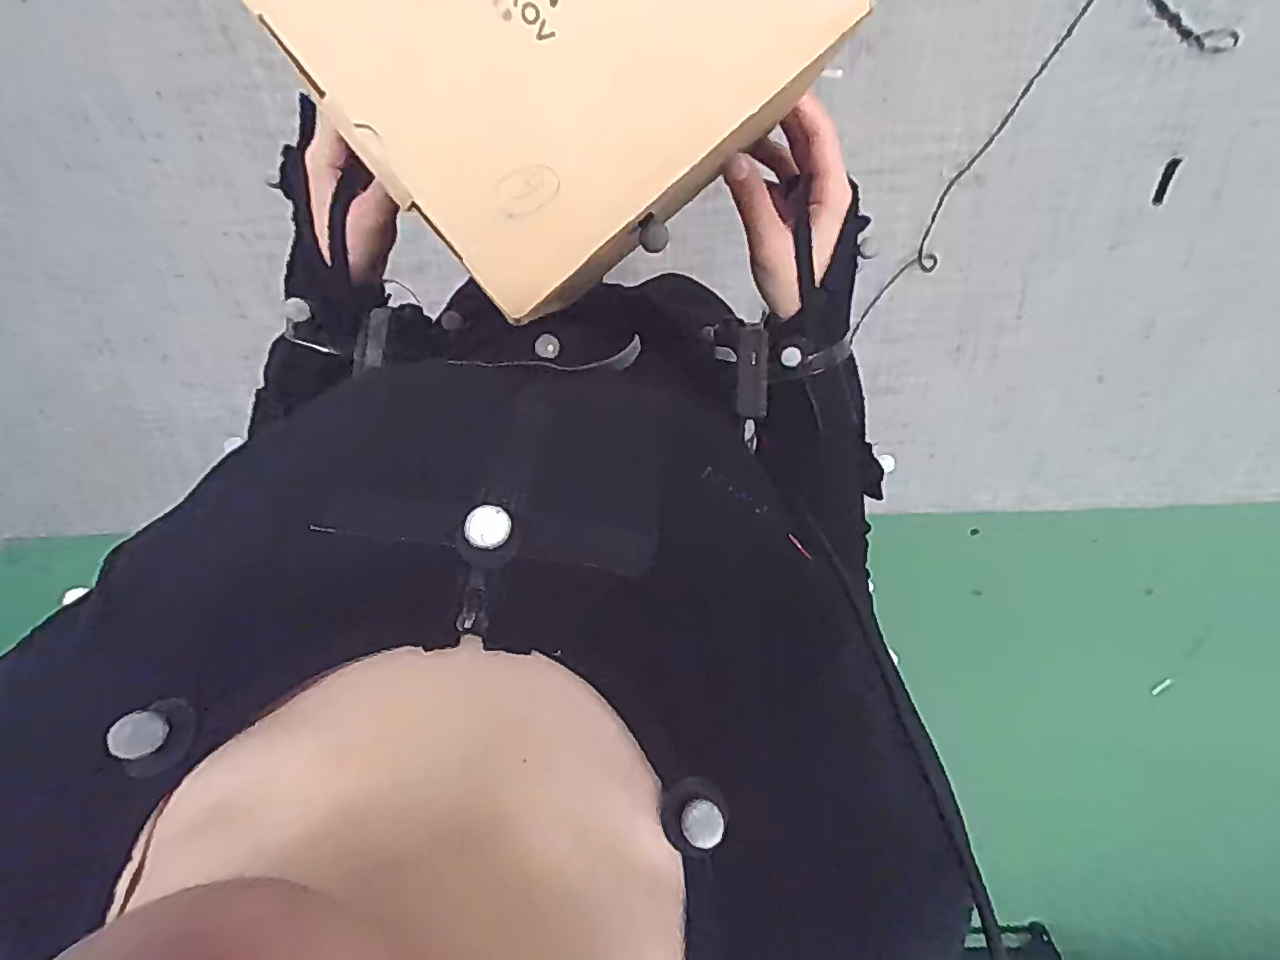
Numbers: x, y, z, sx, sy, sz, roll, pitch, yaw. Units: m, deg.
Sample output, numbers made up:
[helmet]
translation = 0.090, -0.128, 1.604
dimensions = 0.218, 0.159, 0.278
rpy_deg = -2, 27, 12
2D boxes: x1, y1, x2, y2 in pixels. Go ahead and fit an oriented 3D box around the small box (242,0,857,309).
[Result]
[small box]
translation = -0.036, -0.205, 0.261
dimensions = 0.179, 0.176, 0.168
rpy_deg = -36, 105, 13
